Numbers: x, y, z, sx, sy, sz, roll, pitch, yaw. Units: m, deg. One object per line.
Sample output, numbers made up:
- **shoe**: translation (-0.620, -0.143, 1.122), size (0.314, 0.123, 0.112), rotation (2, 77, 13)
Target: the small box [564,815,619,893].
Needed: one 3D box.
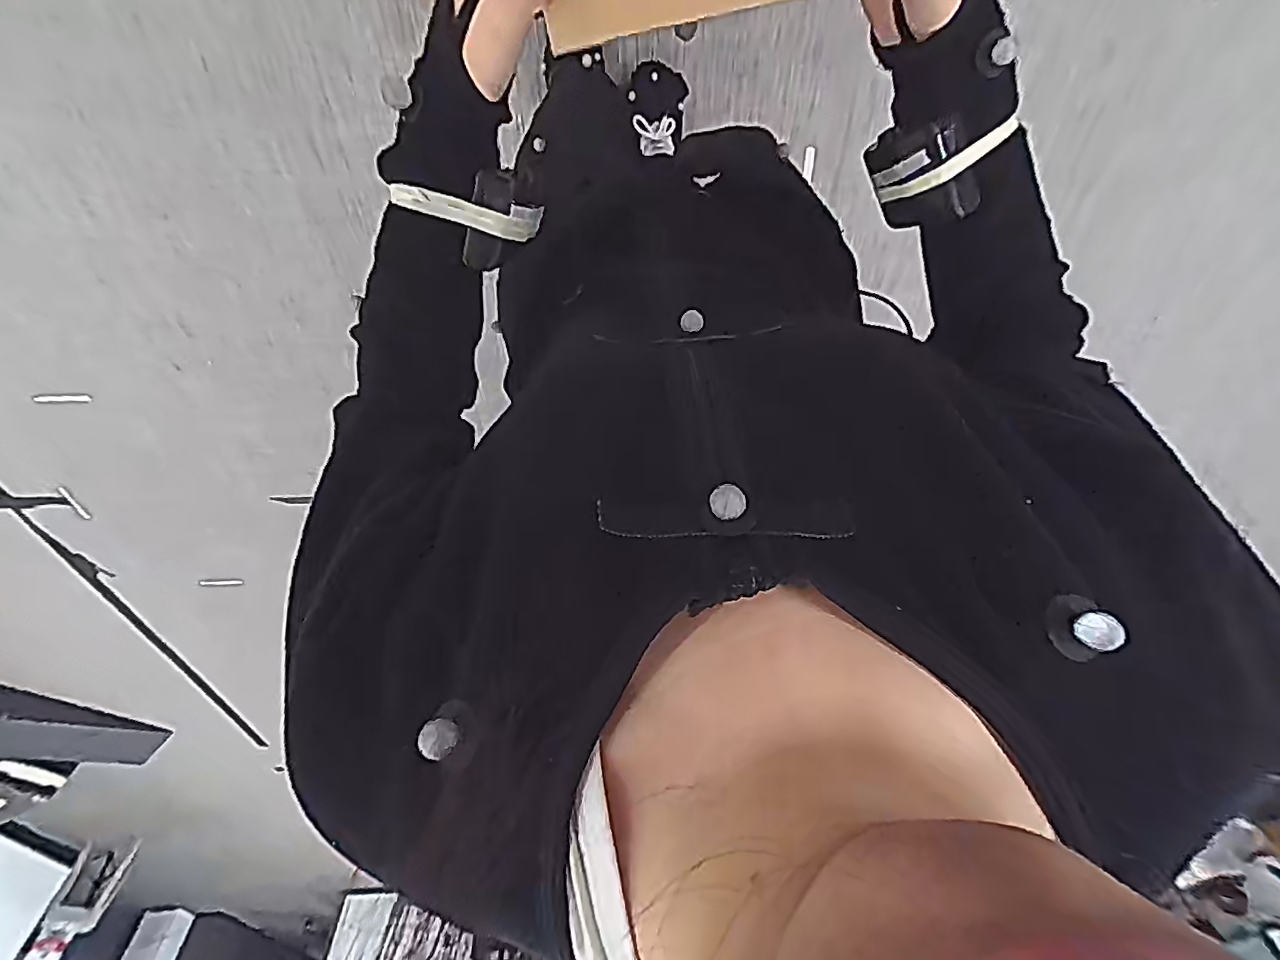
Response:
- **small box**: translation (-0.150, 1.181, 1.710), size (0.168, 0.176, 0.179), rotation (-1, 131, -4)

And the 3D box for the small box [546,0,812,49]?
- **small box**: translation (0.025, -0.348, 0.270), size (0.168, 0.176, 0.179), rotation (-6, 135, 8)
